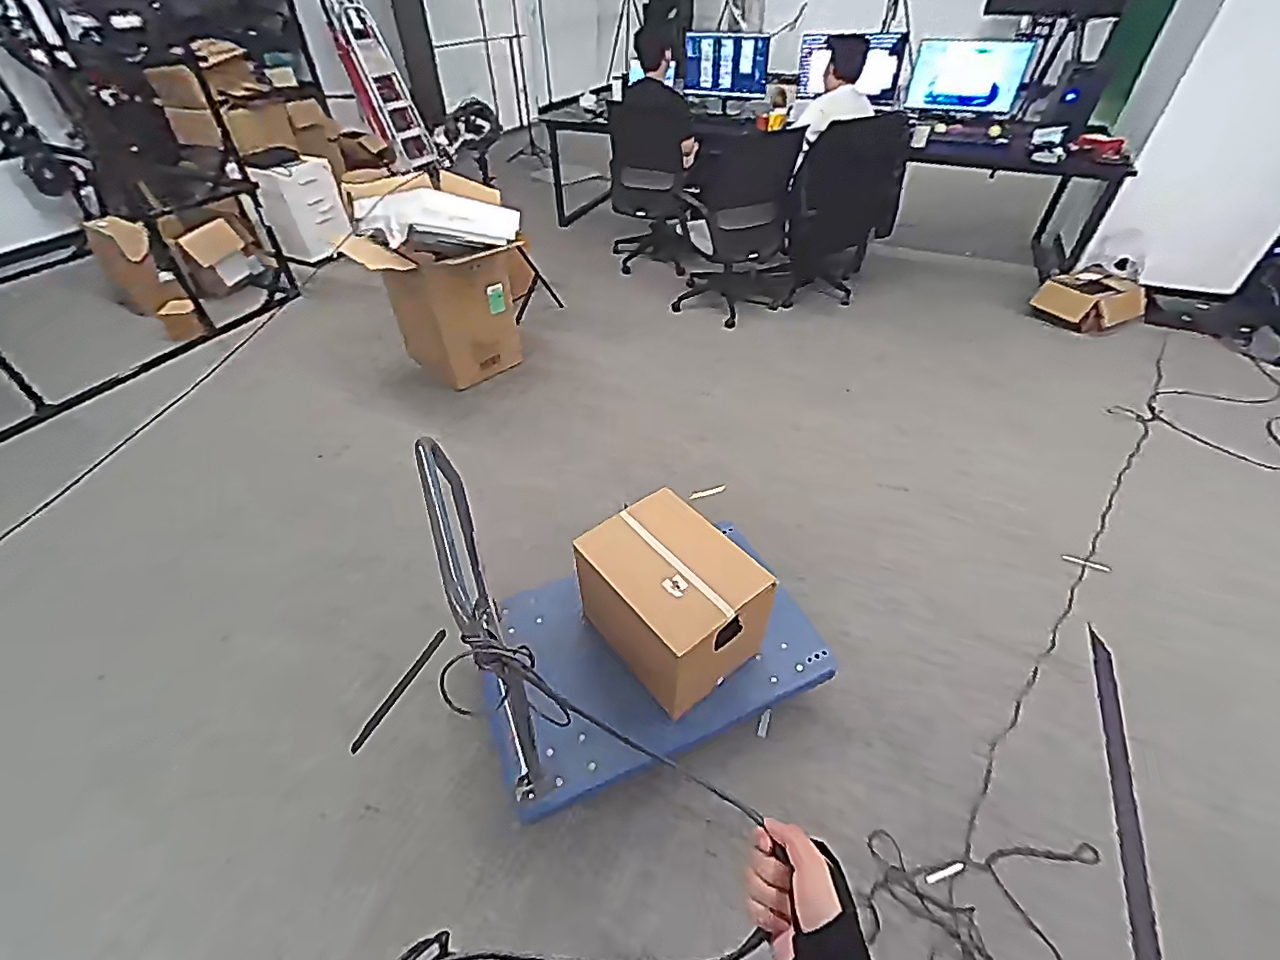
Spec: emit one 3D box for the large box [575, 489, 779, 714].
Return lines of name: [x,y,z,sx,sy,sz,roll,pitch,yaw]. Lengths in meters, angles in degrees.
large box: [0.078,0.300,1.390,0.320,0.320,0.408,-30,52,-26]
